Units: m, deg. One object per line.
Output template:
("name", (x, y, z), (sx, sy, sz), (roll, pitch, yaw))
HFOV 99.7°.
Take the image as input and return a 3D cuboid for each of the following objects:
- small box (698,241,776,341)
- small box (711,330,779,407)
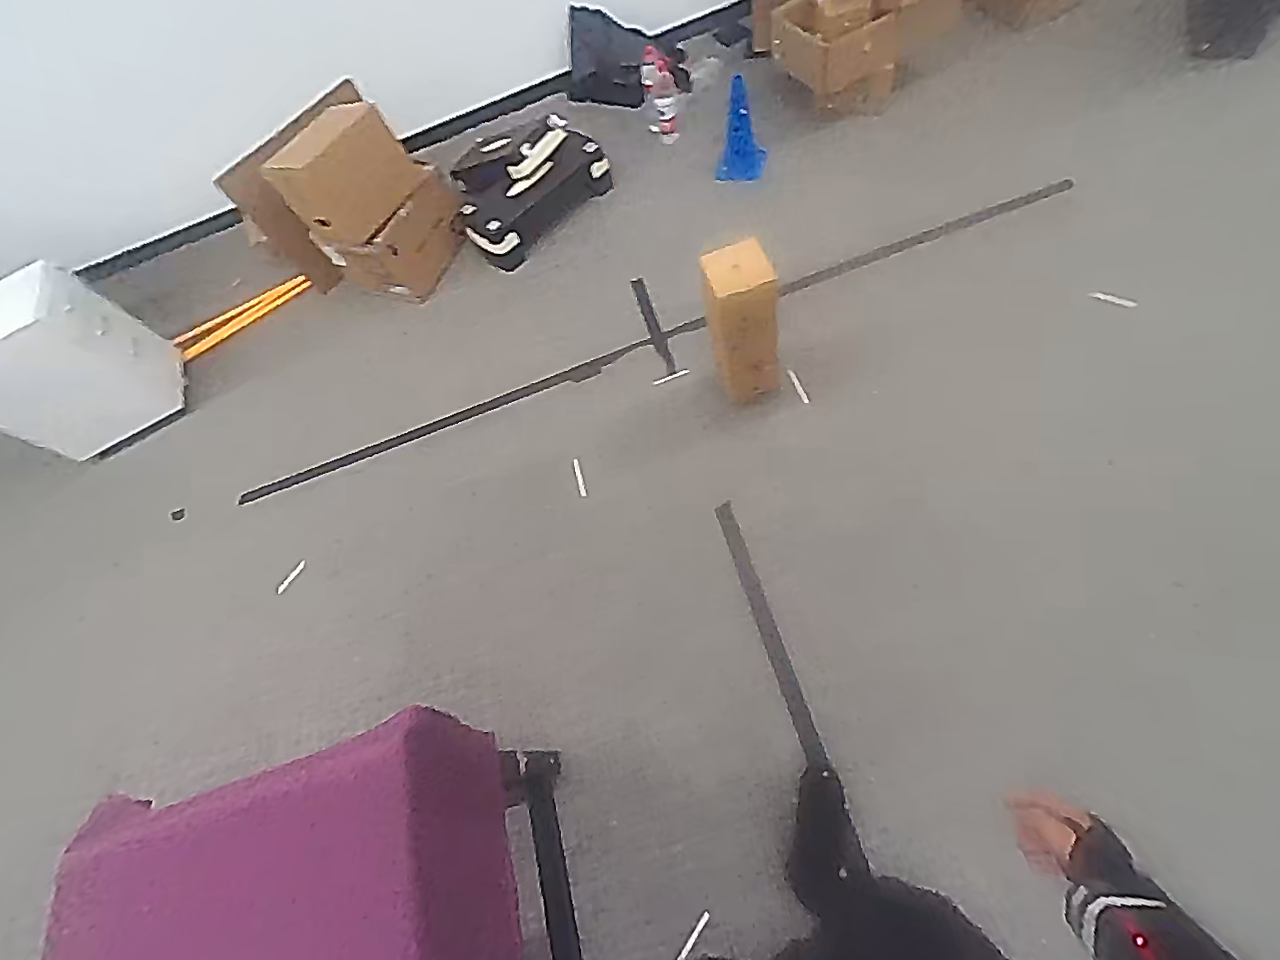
("small box", (0.271, -0.525, 1.519), (0.168, 0.176, 0.179), (-19, 61, 3))
("small box", (0.348, -0.377, 1.801), (0.168, 0.176, 0.179), (-23, 62, 2))
